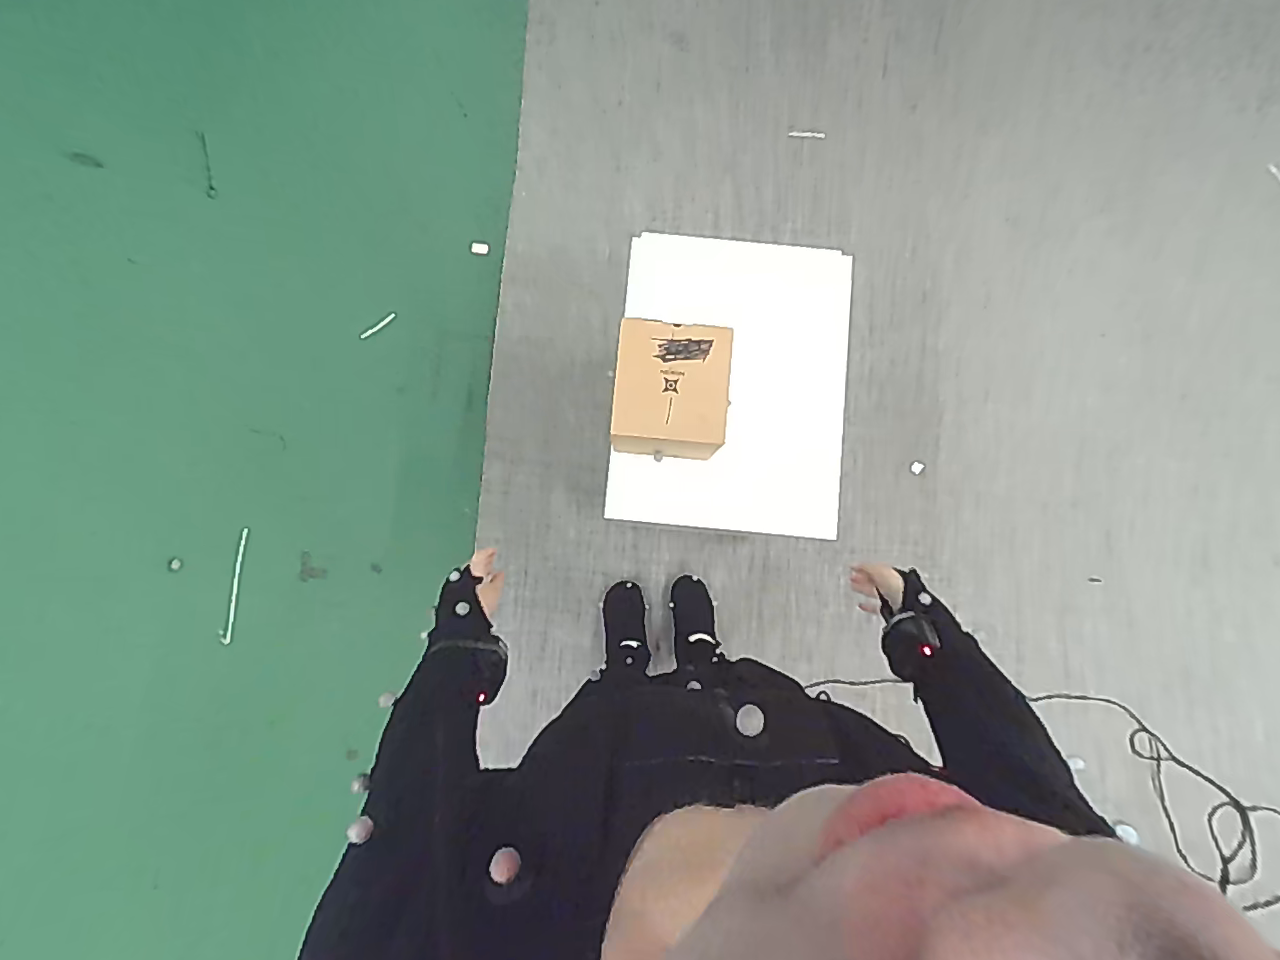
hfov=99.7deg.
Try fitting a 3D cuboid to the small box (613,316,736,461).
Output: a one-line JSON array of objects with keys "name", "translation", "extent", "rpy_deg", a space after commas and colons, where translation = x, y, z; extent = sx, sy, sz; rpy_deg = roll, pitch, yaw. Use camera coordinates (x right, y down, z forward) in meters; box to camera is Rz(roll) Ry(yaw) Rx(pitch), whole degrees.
[{"name": "small box", "translation": [0.049, -0.135, 0.852], "extent": [0.168, 0.176, 0.179], "rpy_deg": [5, 84, 1]}]
